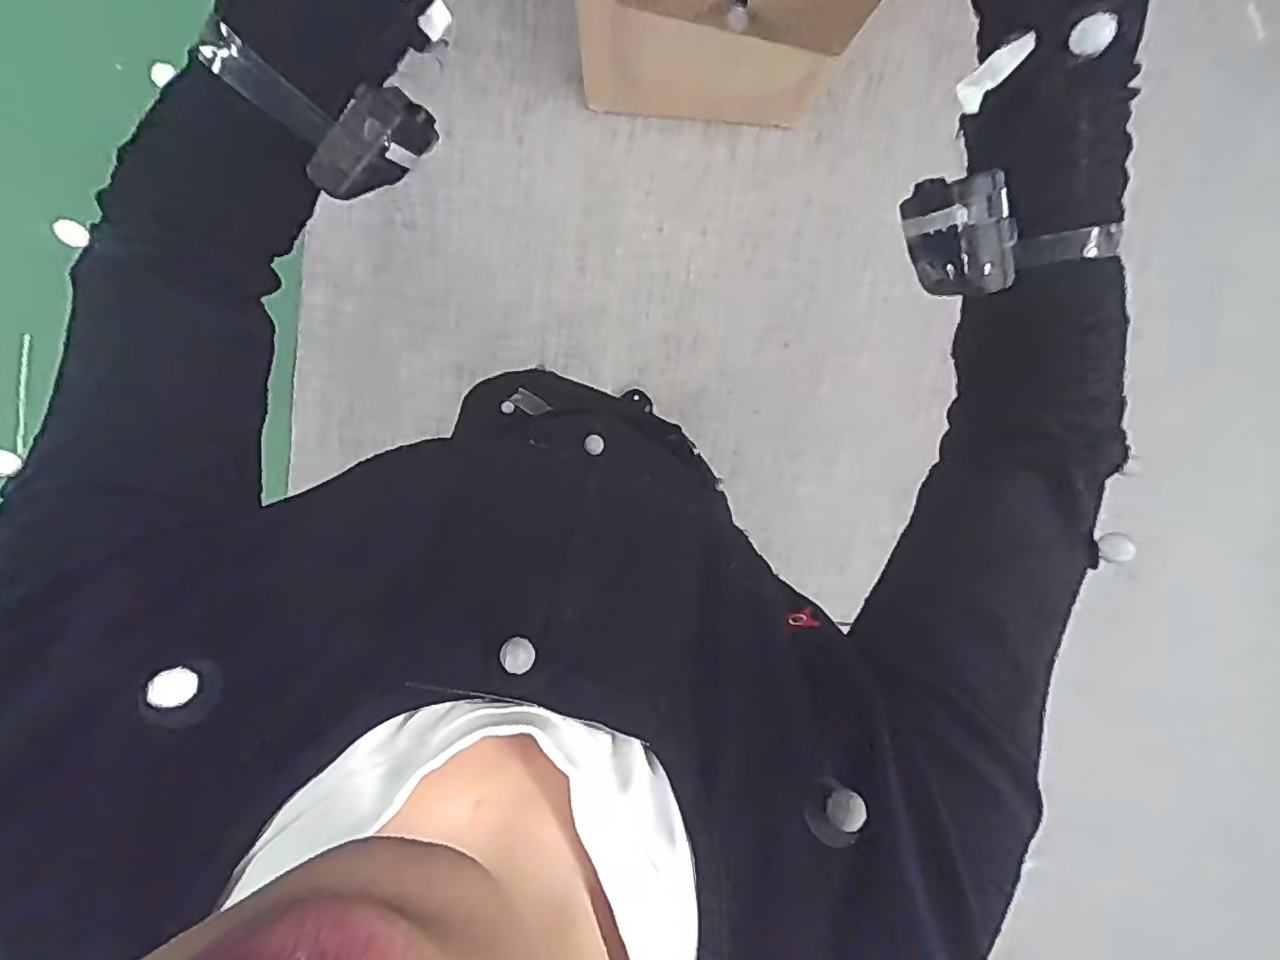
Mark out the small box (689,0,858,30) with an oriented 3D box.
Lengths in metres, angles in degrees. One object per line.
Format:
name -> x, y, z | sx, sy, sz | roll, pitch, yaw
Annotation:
small box -> 0.084, -0.398, 0.298 | 0.179, 0.176, 0.168 | 10, 103, -4
